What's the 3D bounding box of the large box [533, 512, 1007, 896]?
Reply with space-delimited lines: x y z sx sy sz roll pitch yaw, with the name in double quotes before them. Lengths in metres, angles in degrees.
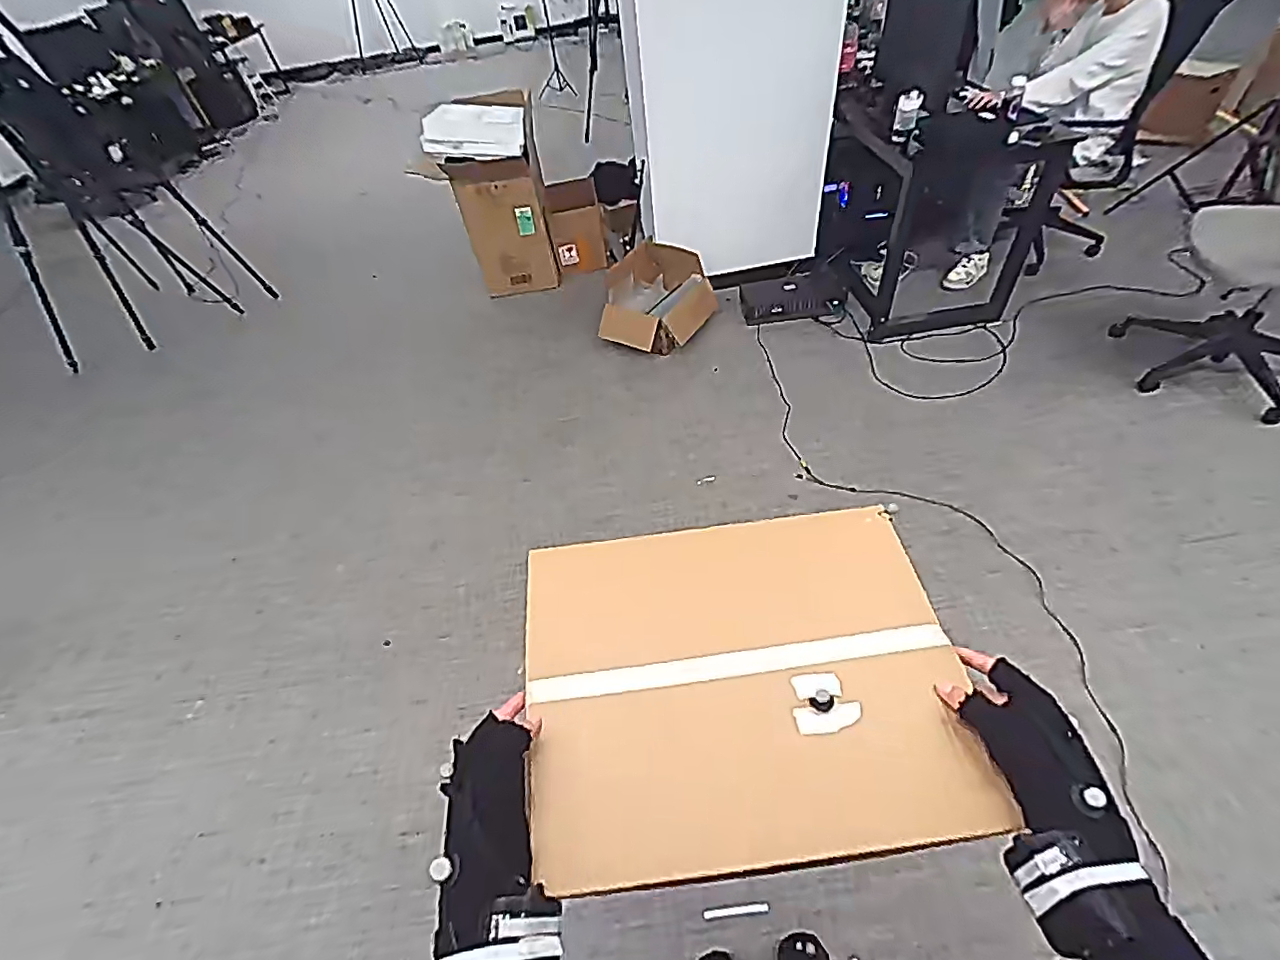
"large box" 0.100 0.274 0.648 0.408 0.320 0.320 -7 52 -1
